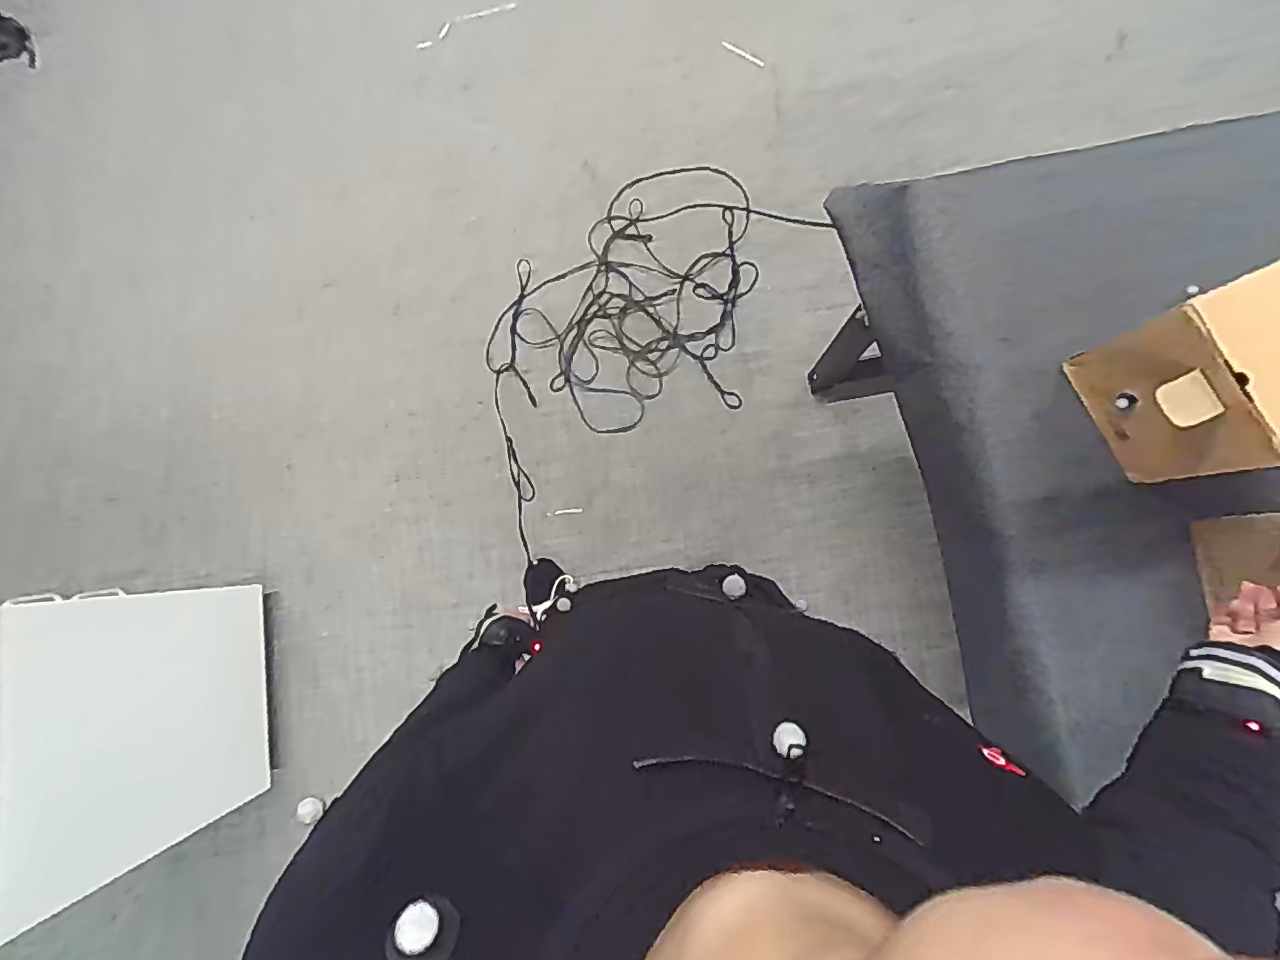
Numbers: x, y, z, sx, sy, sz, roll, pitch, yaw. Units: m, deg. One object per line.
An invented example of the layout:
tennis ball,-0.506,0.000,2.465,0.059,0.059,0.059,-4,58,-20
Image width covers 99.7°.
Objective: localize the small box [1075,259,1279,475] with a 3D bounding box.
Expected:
small box,0.618,-0.119,0.556,0.179,0.176,0.168,-25,82,1
